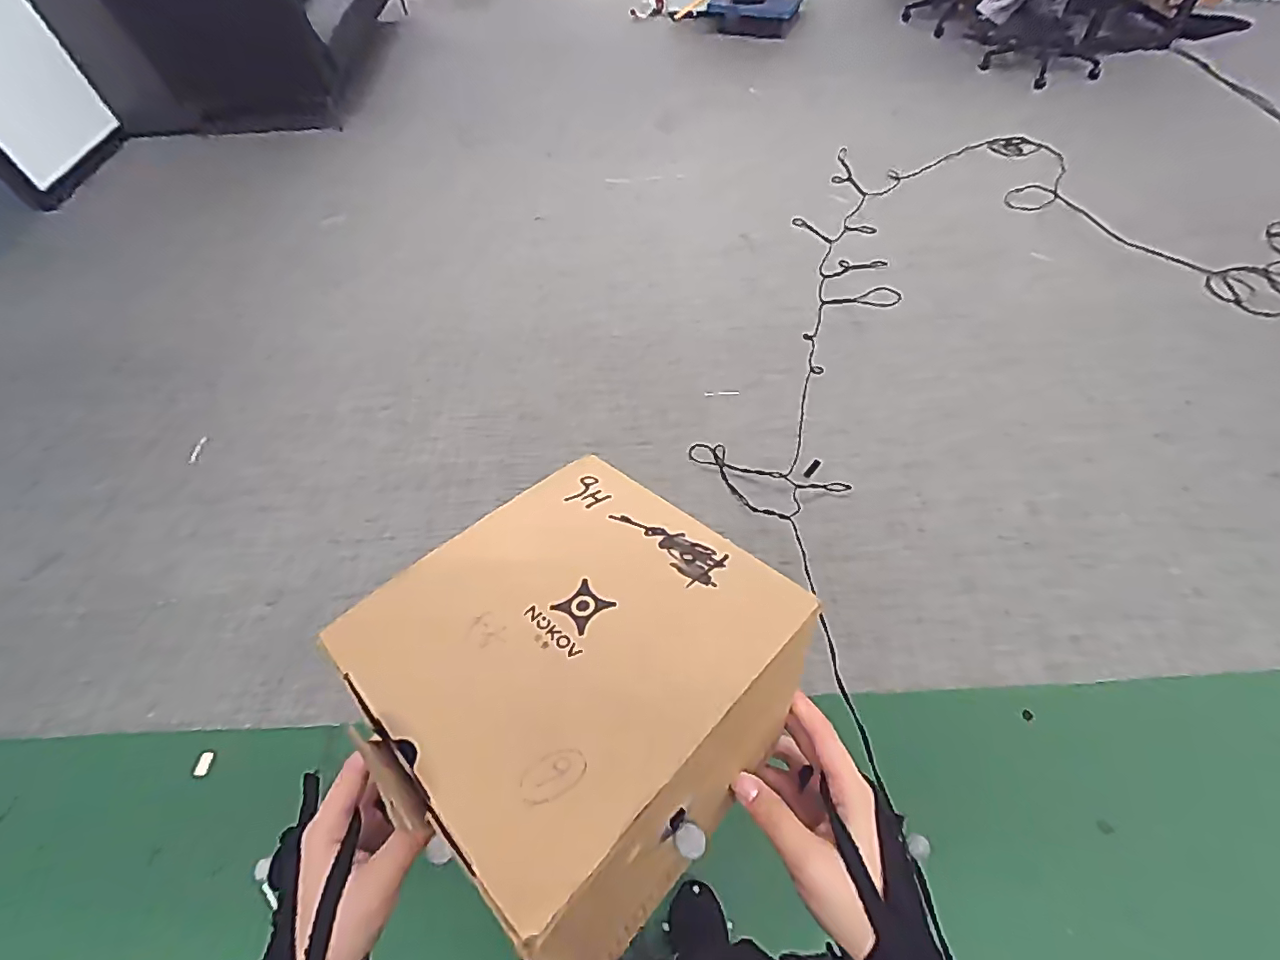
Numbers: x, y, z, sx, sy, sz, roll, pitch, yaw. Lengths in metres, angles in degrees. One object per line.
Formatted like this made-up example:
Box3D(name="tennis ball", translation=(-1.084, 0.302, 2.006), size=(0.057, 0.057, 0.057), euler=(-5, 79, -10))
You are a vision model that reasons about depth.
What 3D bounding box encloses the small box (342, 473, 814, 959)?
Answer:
Box3D(name="small box", translation=(-0.025, 0.134, 0.316), size=(0.168, 0.176, 0.179), euler=(32, 54, 32))
